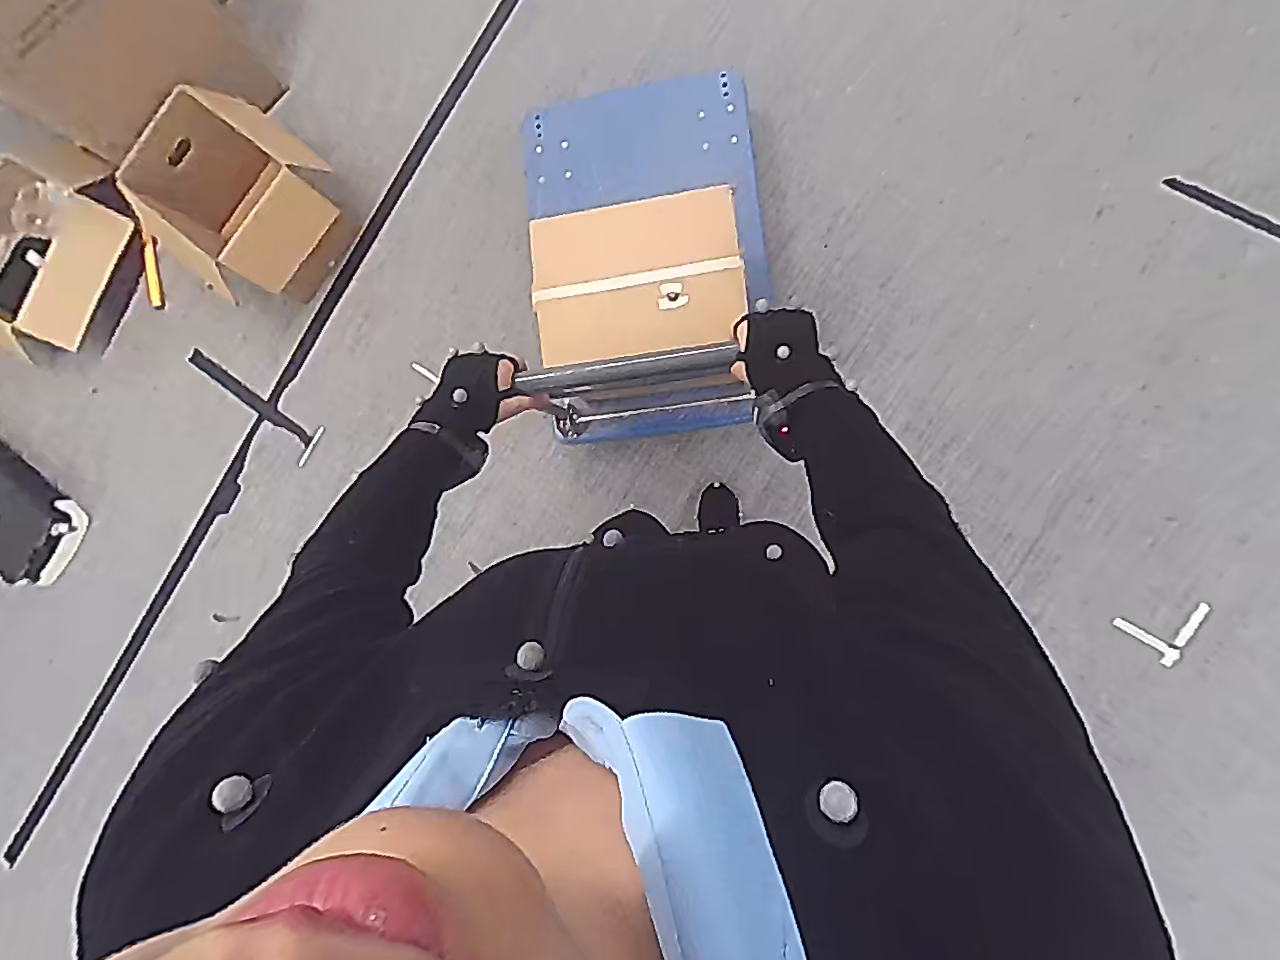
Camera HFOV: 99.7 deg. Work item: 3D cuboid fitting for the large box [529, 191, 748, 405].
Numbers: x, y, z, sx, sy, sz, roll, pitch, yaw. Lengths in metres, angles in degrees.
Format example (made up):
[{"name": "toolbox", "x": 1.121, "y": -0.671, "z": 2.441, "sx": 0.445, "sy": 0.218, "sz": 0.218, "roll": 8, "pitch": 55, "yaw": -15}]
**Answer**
[{"name": "large box", "x": 0.007, "y": -0.368, "z": 1.190, "sx": 0.408, "sy": 0.320, "sz": 0.320, "roll": -7, "pitch": 88, "yaw": 7}]
